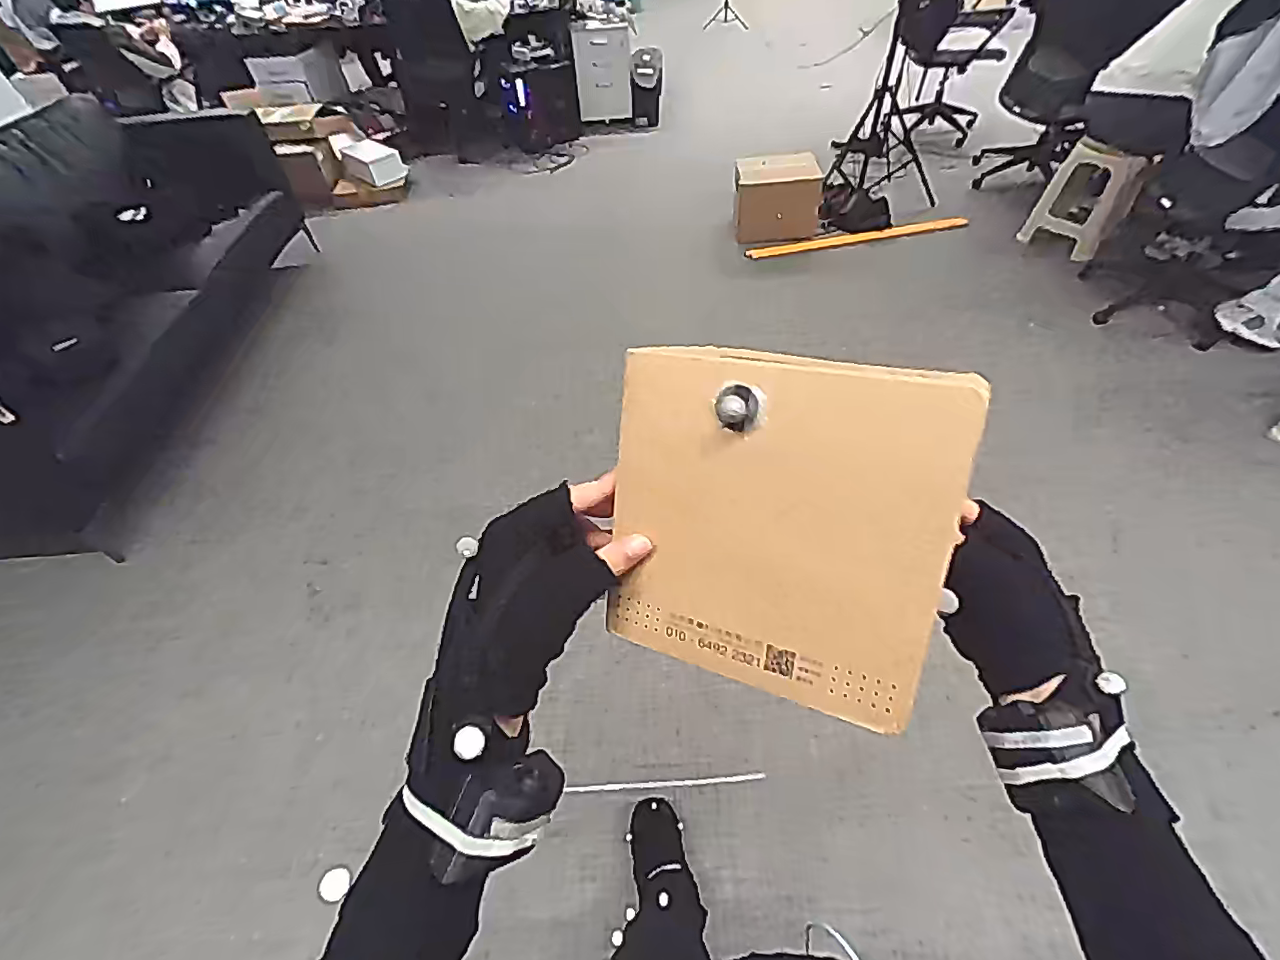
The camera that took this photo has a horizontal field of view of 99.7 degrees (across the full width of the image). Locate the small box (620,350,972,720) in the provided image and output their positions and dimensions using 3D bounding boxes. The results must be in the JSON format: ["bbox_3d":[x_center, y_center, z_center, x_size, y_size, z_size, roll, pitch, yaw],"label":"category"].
[{"bbox_3d":[0.097,0.013,0.351,0.168,0.176,0.179,13,17,25],"label":"small box"}]
